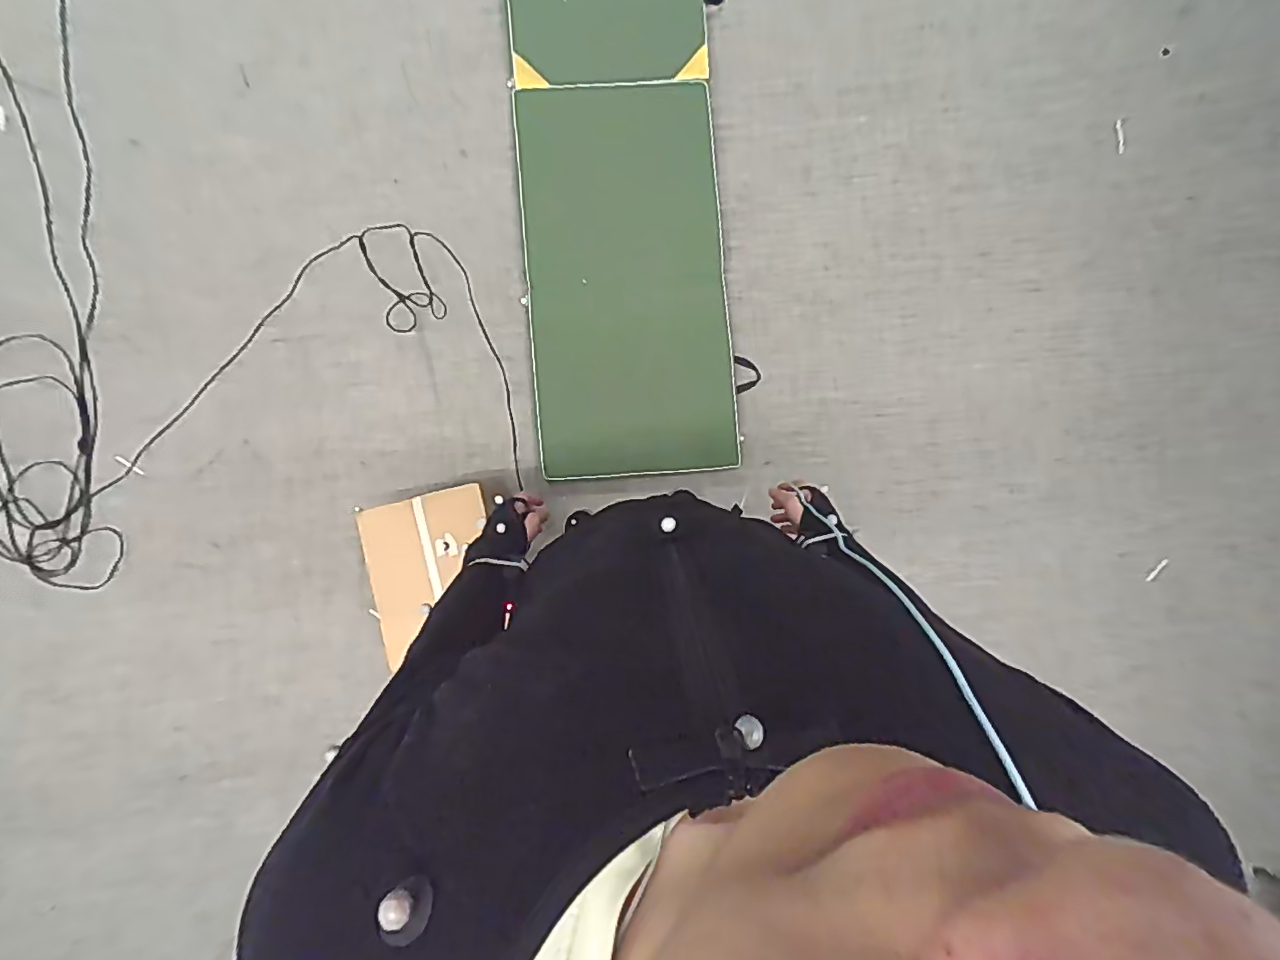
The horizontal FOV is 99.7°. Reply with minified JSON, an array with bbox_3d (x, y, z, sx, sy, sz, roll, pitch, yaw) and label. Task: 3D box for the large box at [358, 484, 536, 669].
[{"bbox_3d":[-0.503,0.245,1.481,0.320,0.320,0.408,-14,87,-2],"label":"large box"}]
